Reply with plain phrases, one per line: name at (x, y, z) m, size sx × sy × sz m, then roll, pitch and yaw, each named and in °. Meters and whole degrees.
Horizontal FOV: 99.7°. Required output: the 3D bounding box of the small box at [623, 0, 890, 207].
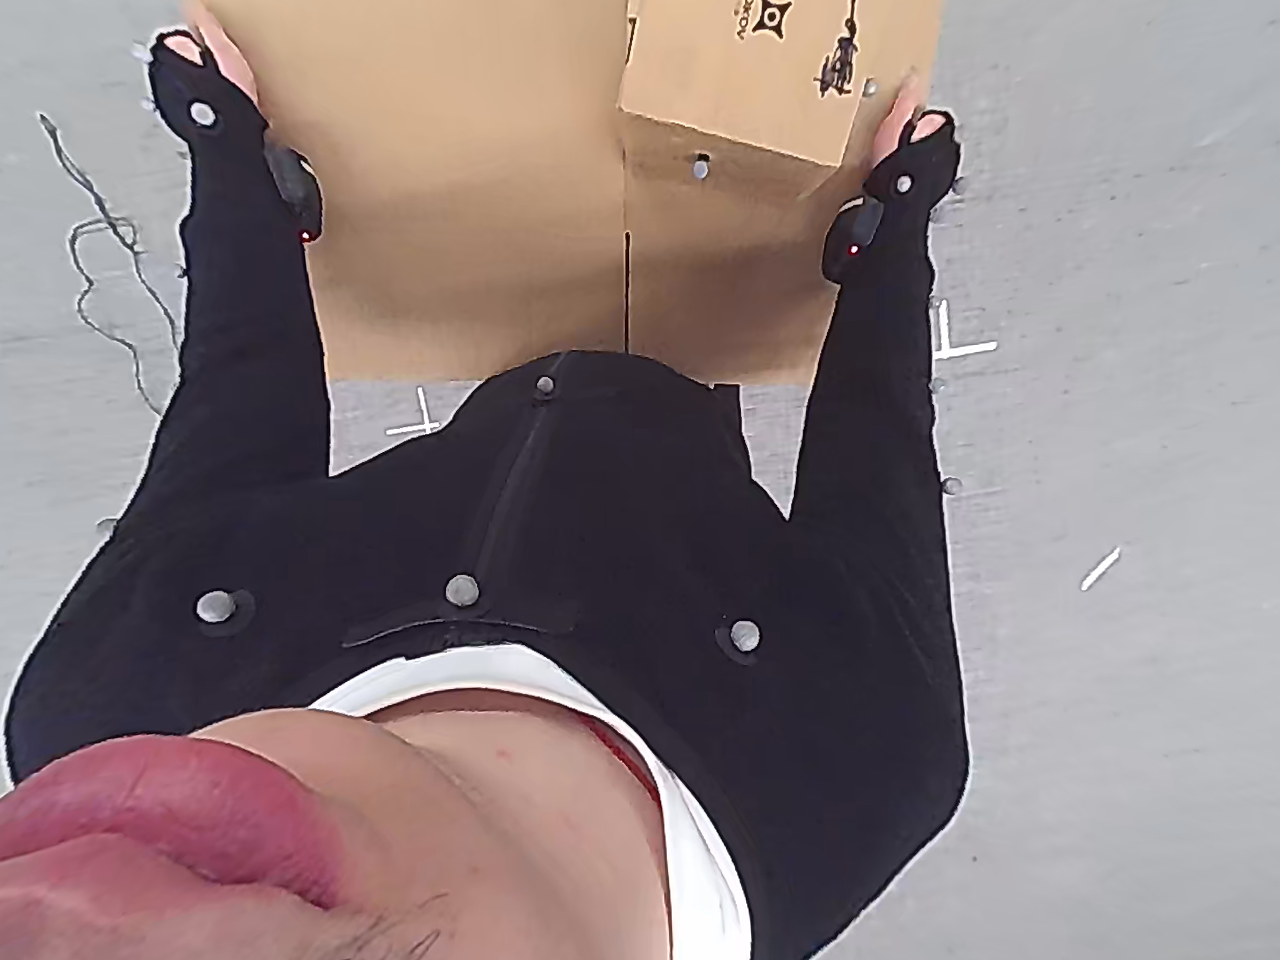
small box at (0.094, -0.357, 0.471) m, size 0.179 × 0.176 × 0.168 m, roll 14°, pitch 106°, yaw 0°
